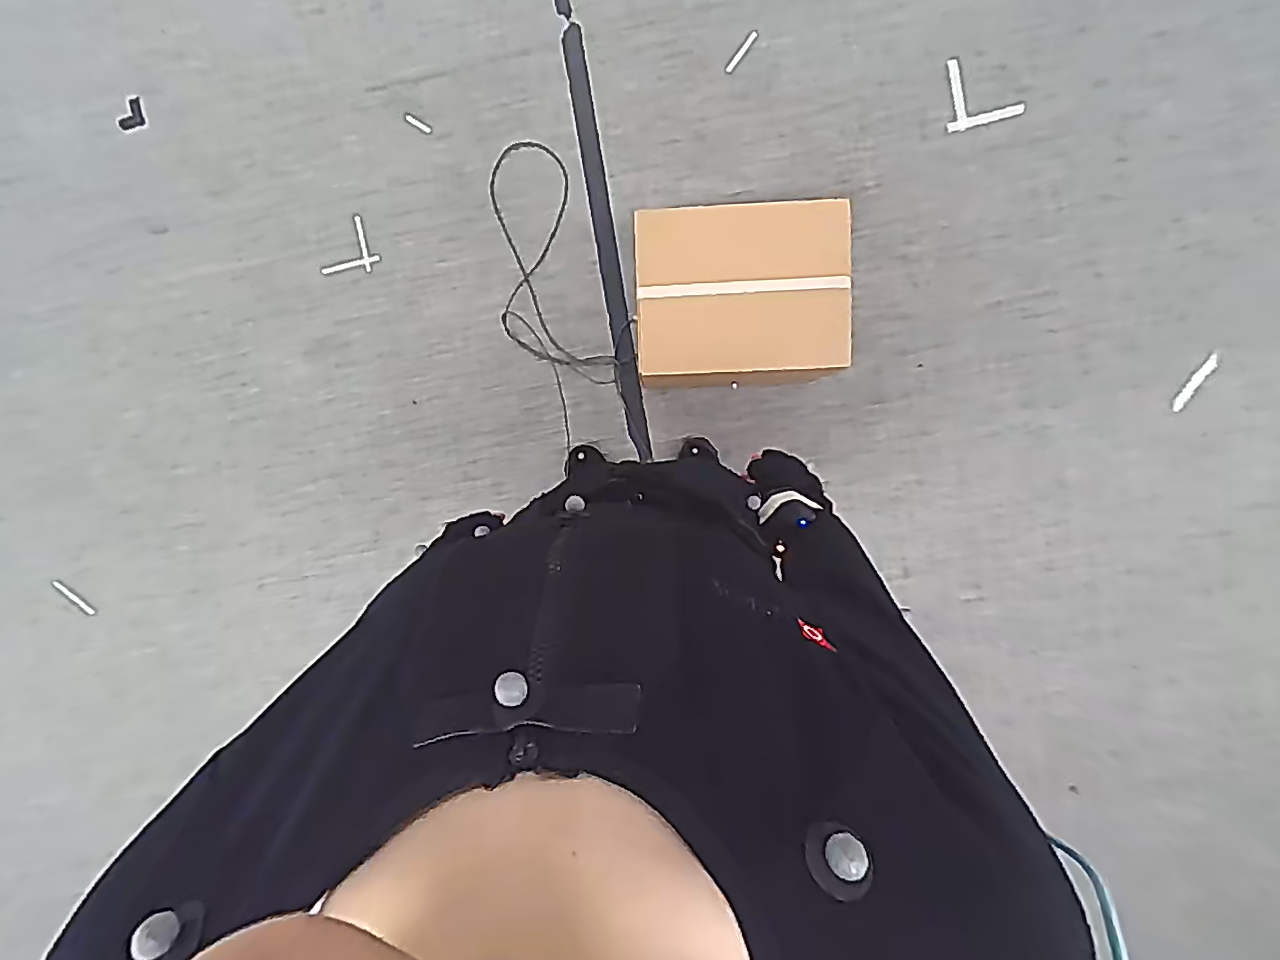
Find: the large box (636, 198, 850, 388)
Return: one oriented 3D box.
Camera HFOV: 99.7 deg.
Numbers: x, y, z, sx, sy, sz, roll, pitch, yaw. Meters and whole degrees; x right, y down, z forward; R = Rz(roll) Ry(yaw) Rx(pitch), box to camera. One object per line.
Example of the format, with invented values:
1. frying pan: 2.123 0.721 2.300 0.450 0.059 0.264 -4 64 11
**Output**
1. large box: 0.203 -0.380 1.182 0.408 0.320 0.320 -2 95 3
